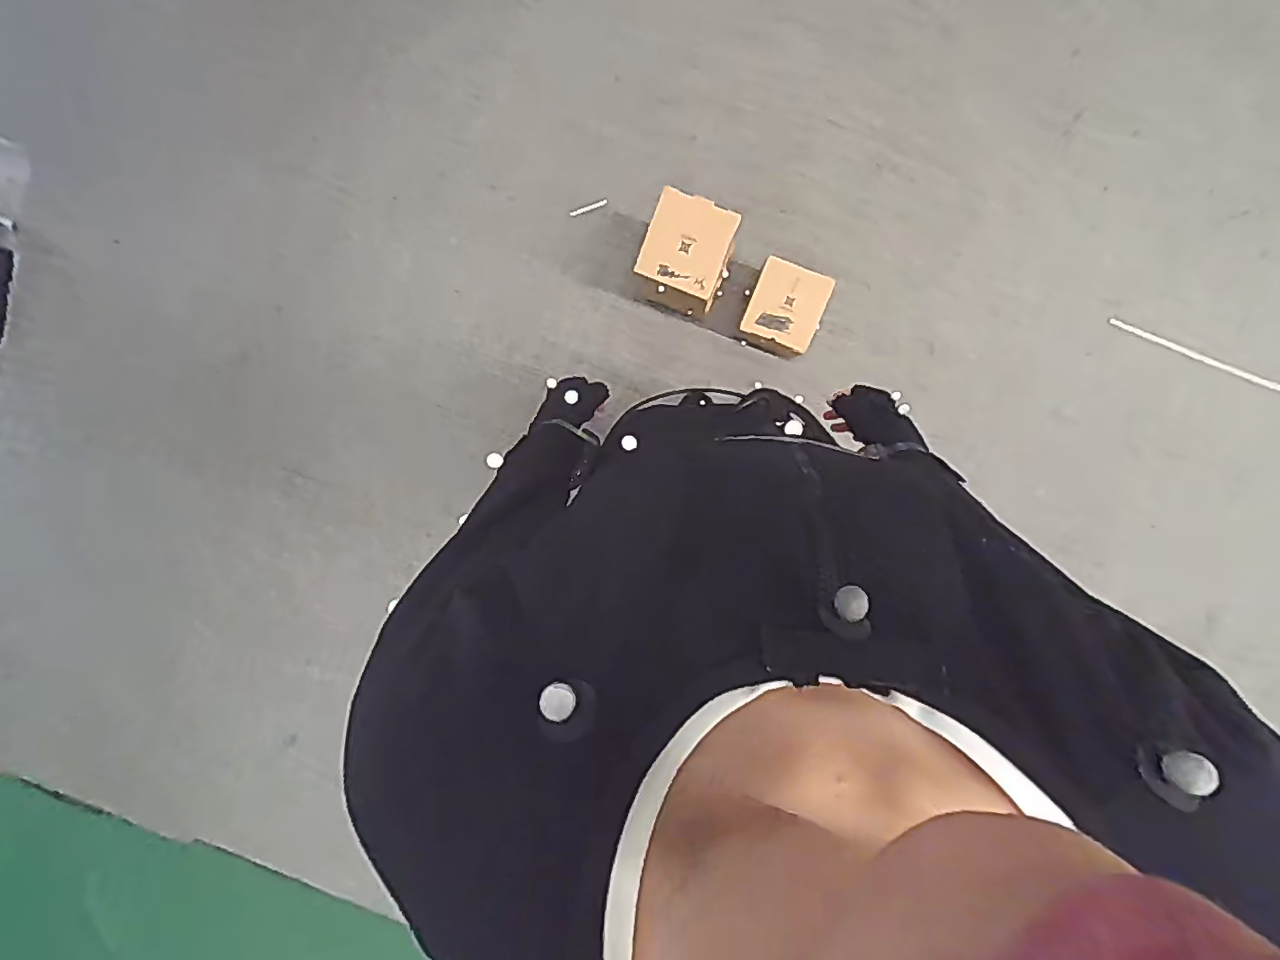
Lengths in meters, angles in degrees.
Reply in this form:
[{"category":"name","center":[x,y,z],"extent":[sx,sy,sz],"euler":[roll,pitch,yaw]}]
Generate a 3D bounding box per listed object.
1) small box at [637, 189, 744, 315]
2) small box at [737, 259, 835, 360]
[{"category":"small box","center":[0.104,-0.474,1.153],"extent":[0.168,0.176,0.179],"euler":[23,99,1]},{"category":"small box","center":[0.342,-0.400,1.308],"extent":[0.168,0.176,0.179],"euler":[22,99,1]}]
